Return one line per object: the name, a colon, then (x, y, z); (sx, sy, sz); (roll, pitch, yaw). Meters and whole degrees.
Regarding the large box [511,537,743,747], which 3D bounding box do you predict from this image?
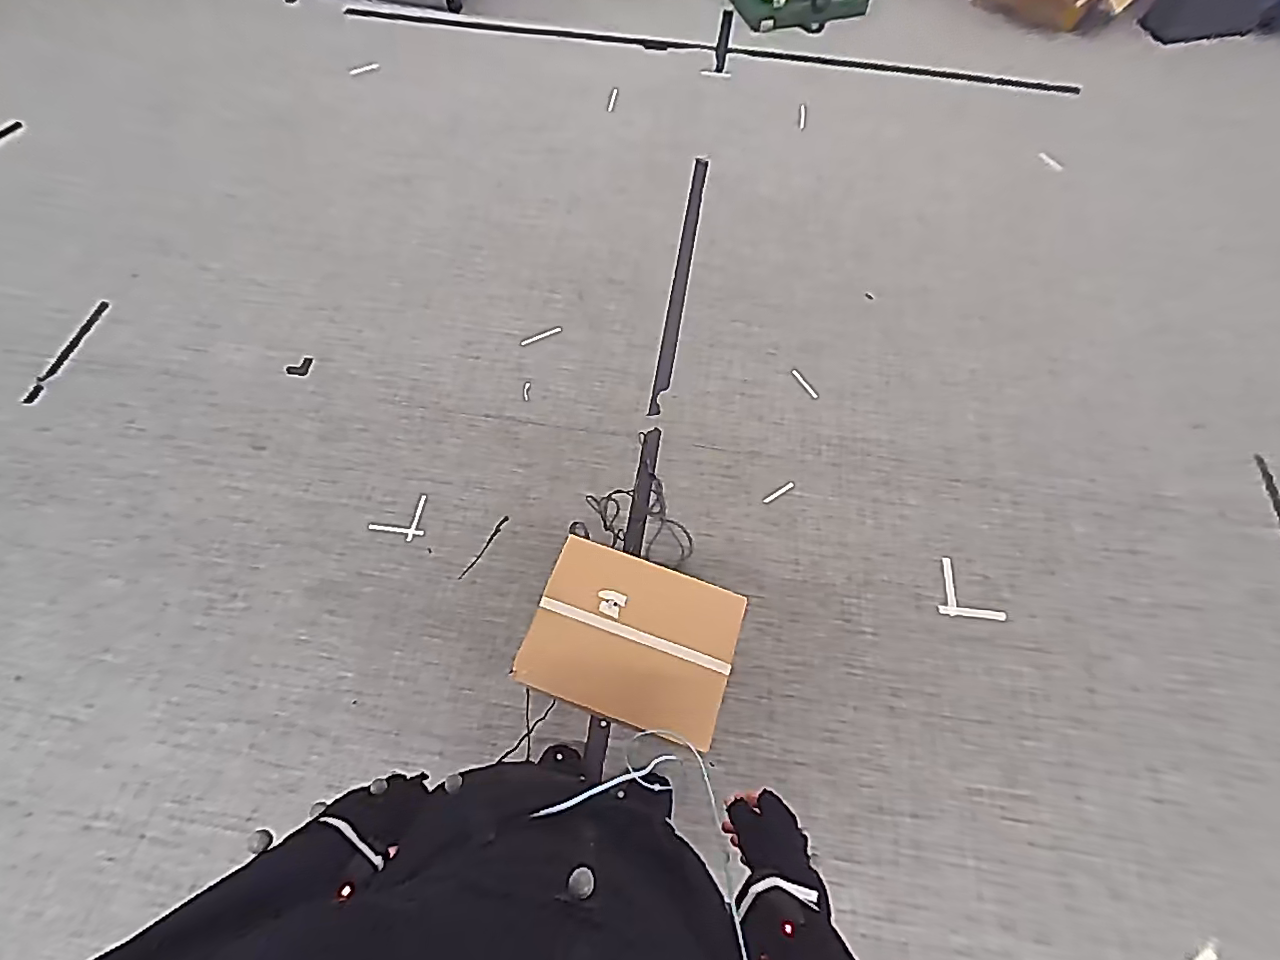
large box: (-0.023, 0.376, 1.227); (0.408, 0.320, 0.320); (19, 64, 6)
